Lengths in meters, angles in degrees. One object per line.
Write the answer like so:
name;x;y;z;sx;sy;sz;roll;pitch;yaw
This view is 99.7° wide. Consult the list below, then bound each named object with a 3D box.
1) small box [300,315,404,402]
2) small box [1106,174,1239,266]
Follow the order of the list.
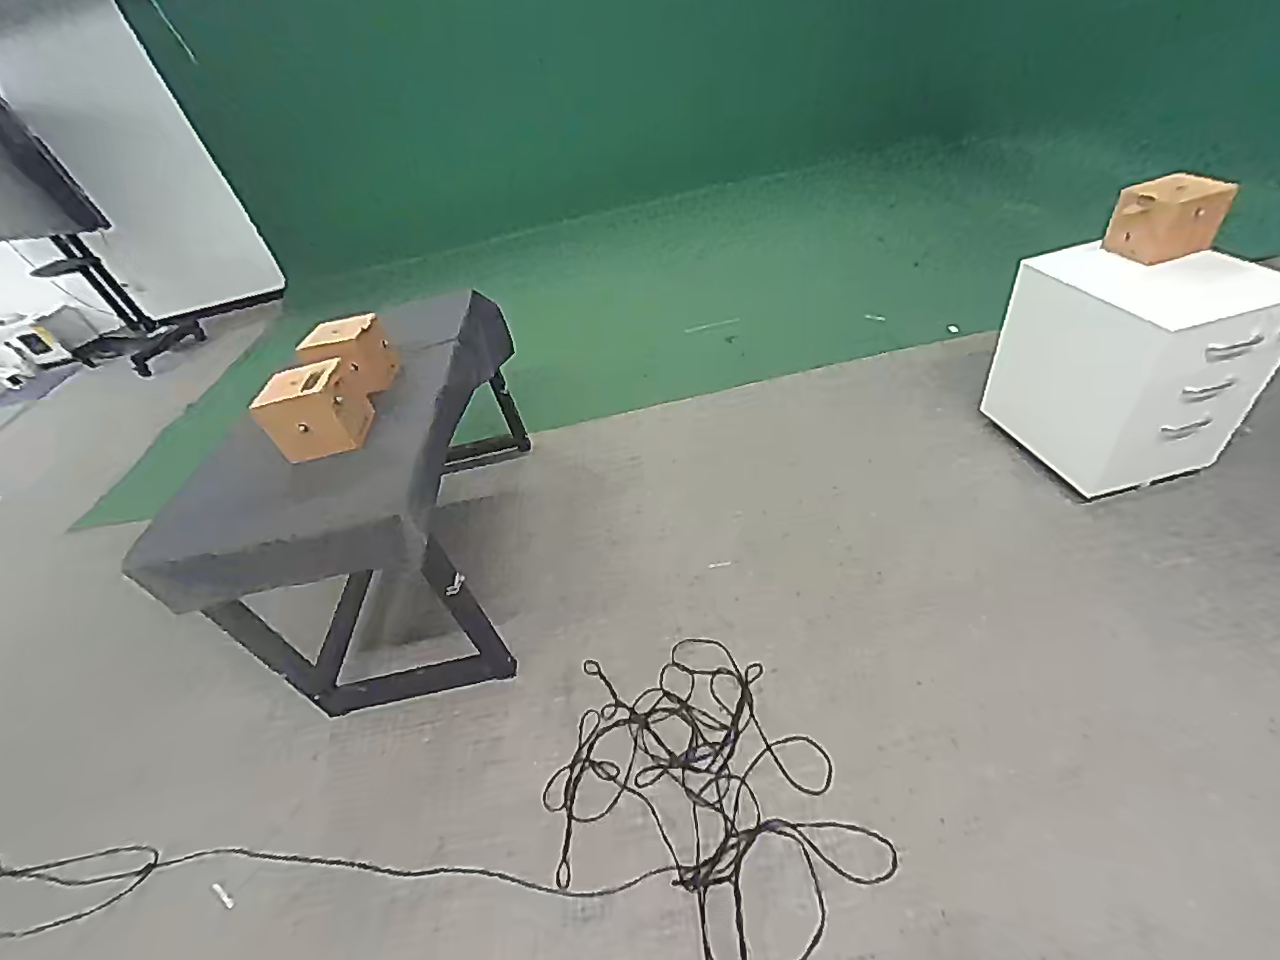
small box;-0.809;-0.345;1.541;0.179;0.176;0.168;-10;39;7
small box;1.460;-0.719;1.499;0.179;0.176;0.168;-17;42;0
